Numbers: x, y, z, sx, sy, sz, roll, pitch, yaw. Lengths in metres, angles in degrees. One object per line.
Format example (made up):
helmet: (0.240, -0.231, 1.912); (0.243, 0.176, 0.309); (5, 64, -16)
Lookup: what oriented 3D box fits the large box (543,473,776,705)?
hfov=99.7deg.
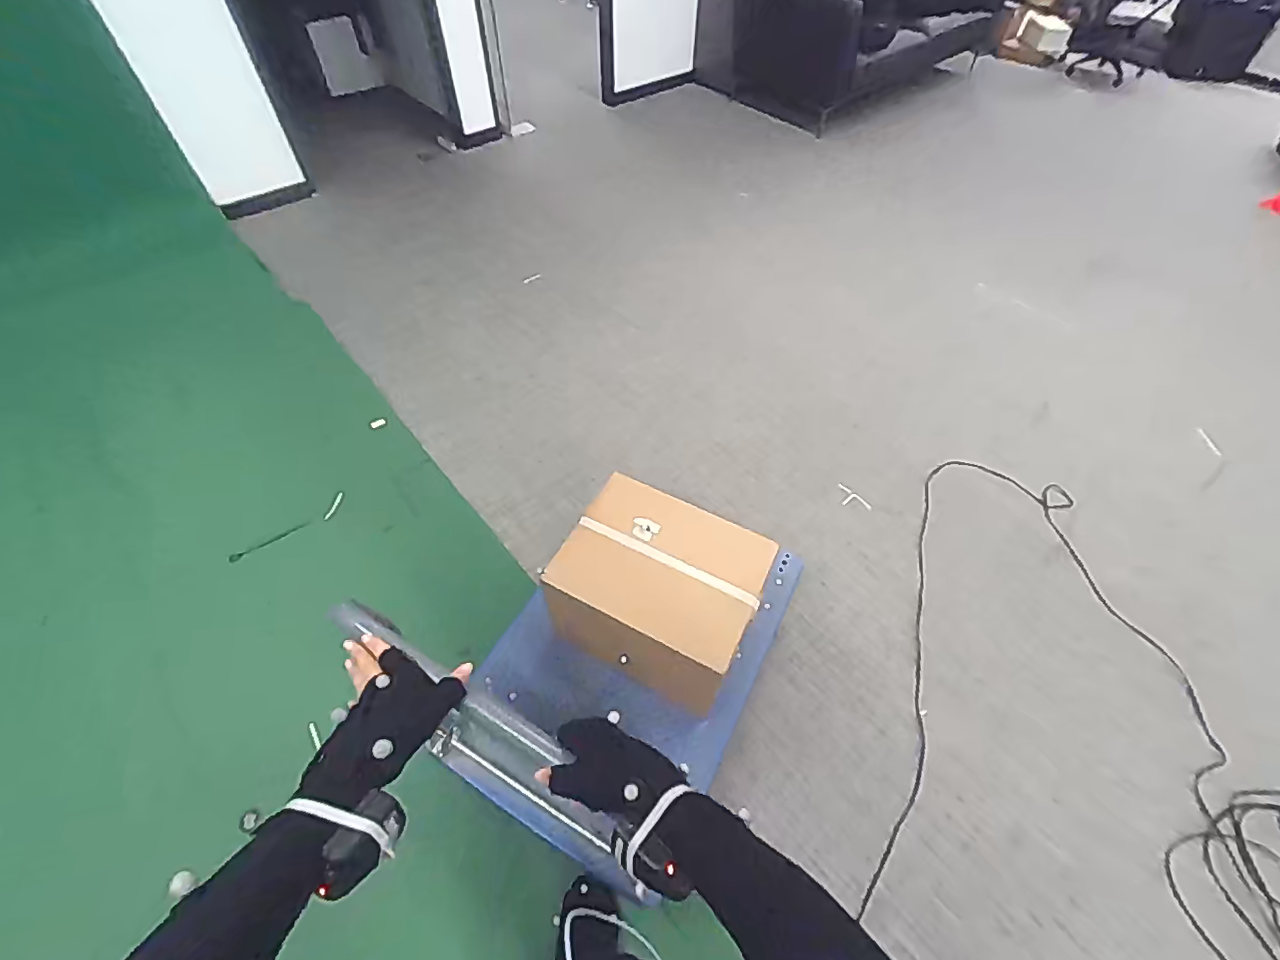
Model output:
large box: (0.047, 0.250, 1.237); (0.408, 0.320, 0.320); (23, 55, 16)
